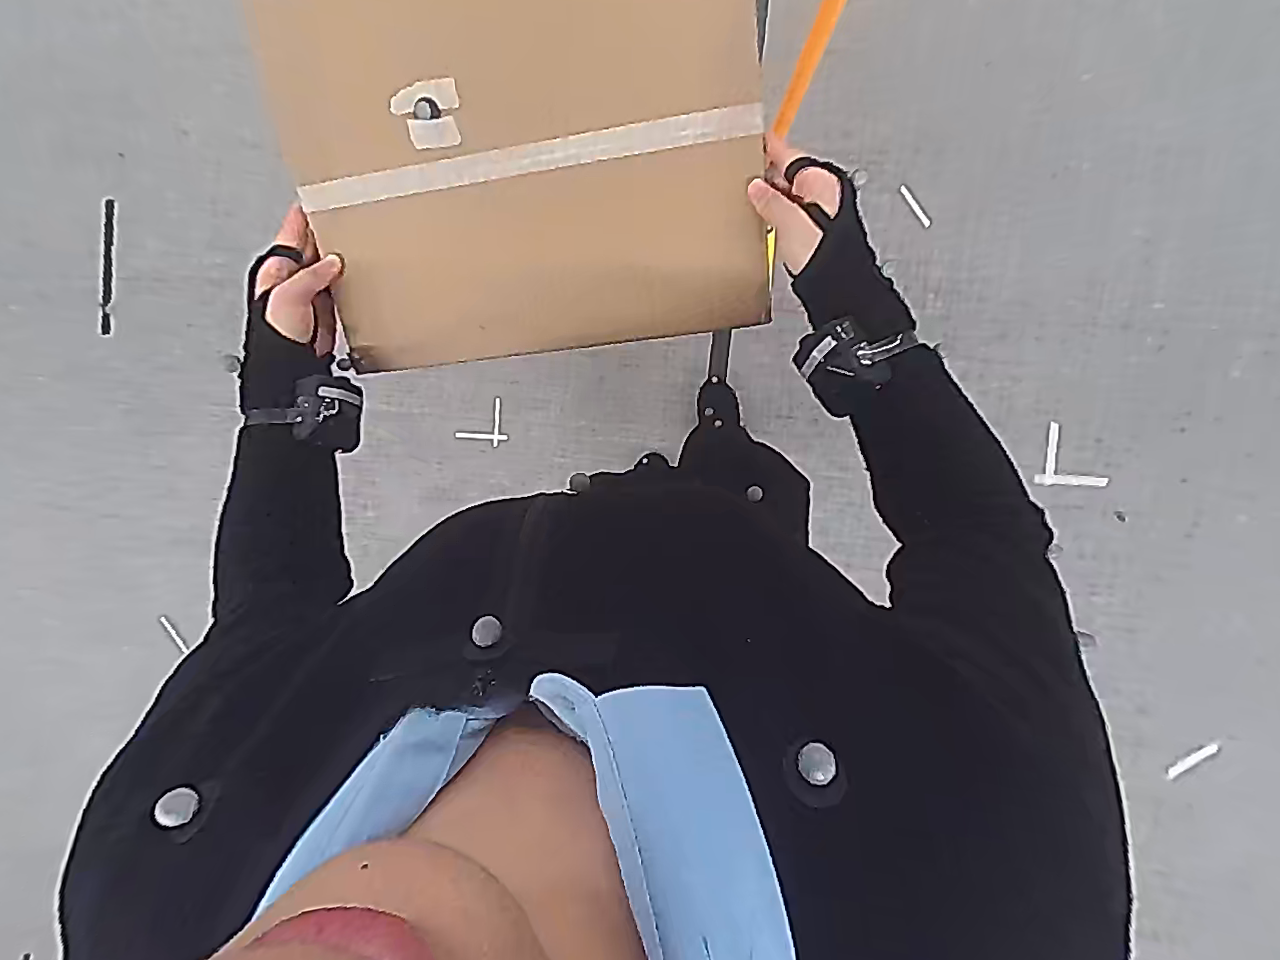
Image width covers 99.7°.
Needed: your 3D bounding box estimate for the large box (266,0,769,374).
[{"bbox_3d":[-0.084,-0.324,0.613,0.408,0.320,0.320,-6,109,8],"label":"large box"}]
